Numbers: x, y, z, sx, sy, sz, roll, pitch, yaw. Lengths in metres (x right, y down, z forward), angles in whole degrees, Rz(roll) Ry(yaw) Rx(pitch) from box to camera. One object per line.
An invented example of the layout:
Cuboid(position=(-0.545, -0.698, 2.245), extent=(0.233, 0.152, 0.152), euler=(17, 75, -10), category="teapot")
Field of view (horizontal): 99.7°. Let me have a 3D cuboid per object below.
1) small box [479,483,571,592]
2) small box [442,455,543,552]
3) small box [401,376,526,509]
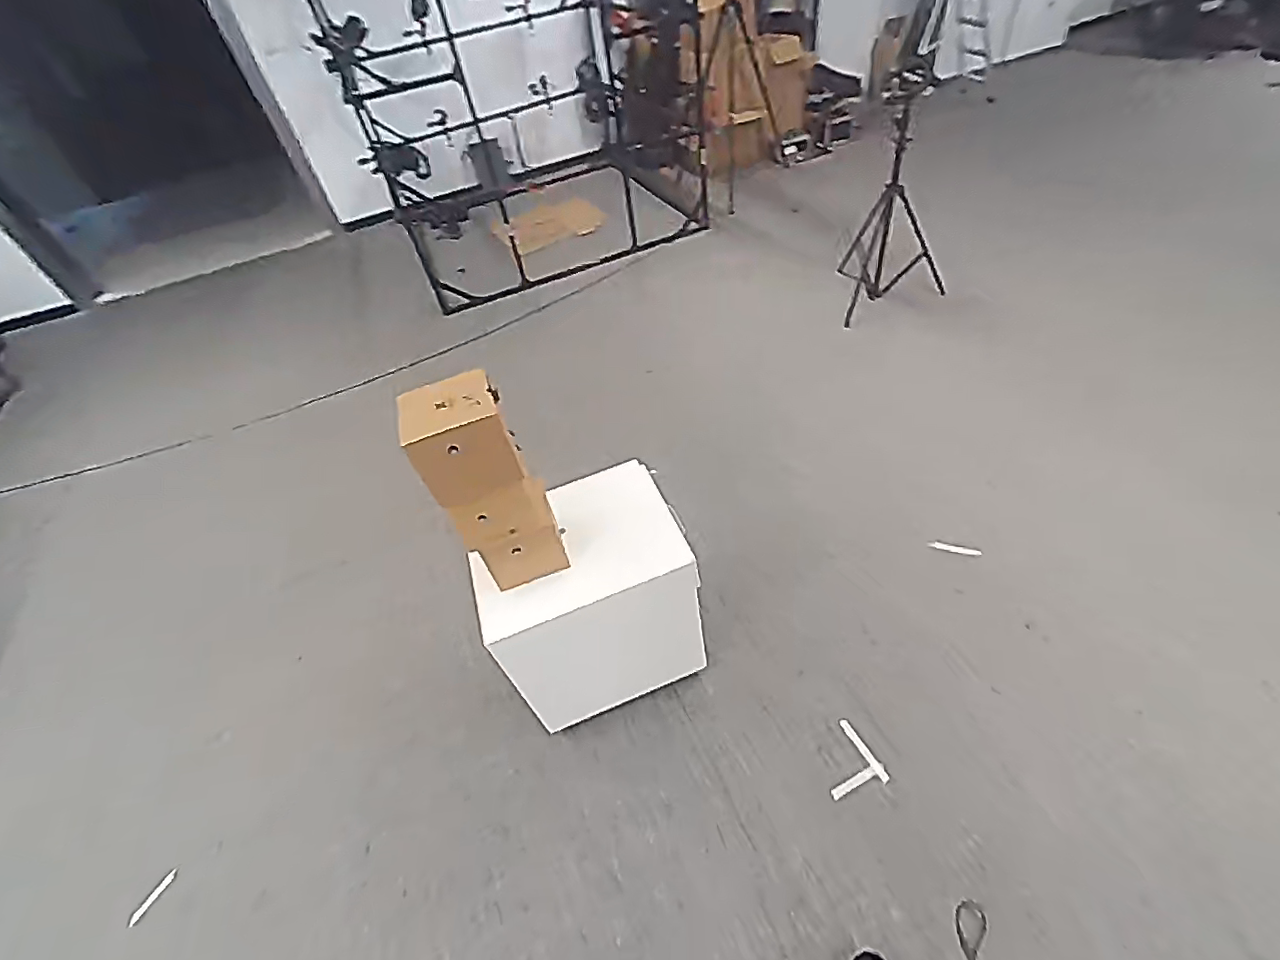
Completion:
Cuboid(position=(-0.282, 0.142, 1.296), extent=(0.179, 0.176, 0.168), euler=(-19, 45, -8), category="small box")
Cuboid(position=(-0.322, 0.035, 1.179), extent=(0.168, 0.176, 0.179), euler=(-18, 45, -6), category="small box")
Cuboid(position=(-0.342, -0.070, 1.053), extent=(0.179, 0.176, 0.168), euler=(-20, 46, -8), category="small box")
